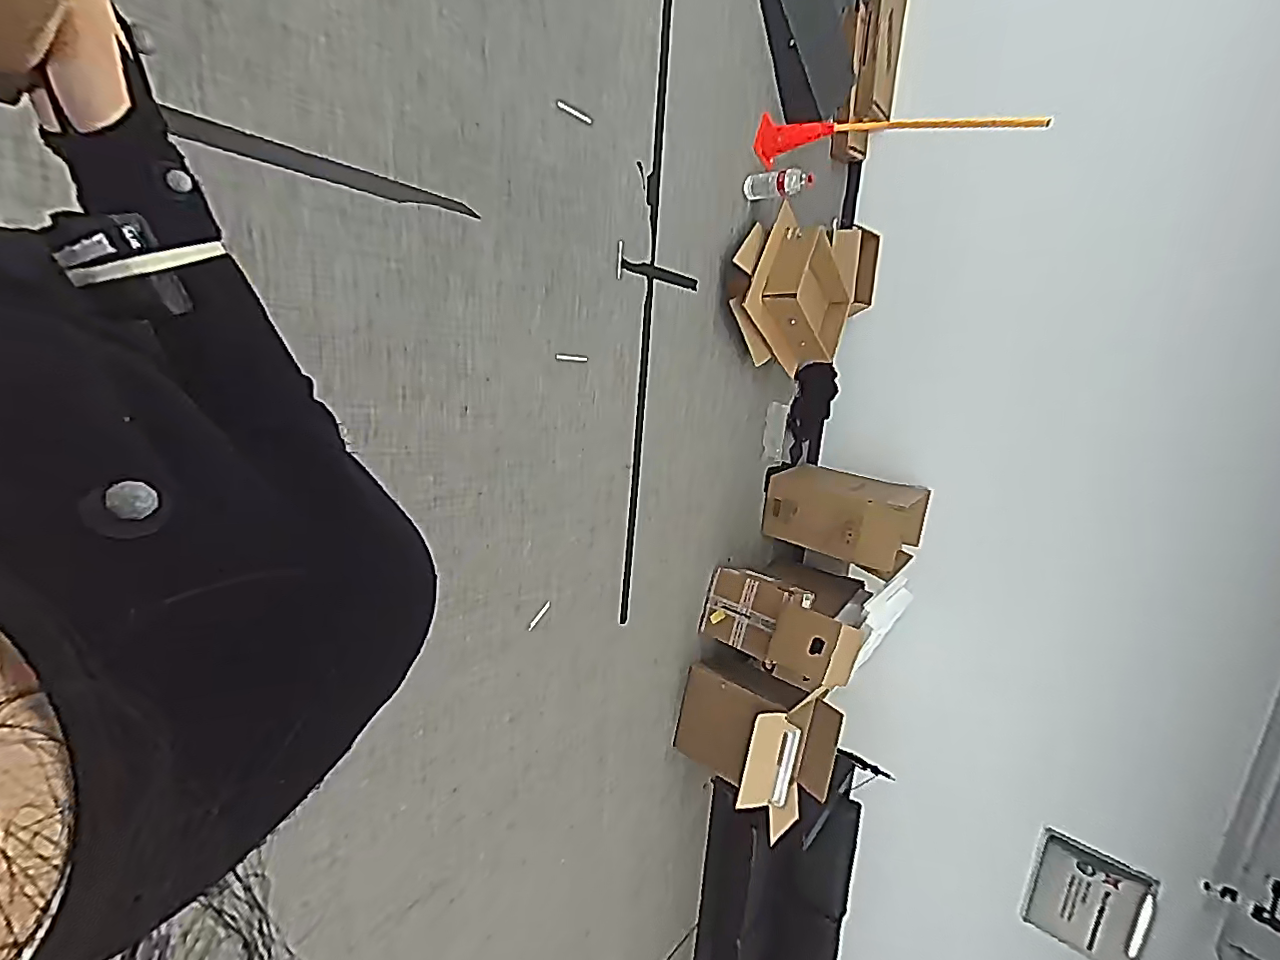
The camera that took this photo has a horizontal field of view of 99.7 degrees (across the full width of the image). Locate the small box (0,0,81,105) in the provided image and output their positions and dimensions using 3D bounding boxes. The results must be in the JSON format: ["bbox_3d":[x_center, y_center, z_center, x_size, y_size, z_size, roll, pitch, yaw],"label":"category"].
[{"bbox_3d":[-0.352,-0.285,0.205,0.168,0.176,0.179,-13,106,-53],"label":"small box"}]

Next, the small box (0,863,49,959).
[{"bbox_3d":[-1.030,0.744,0.819,0.168,0.176,0.179,-14,111,-49],"label":"small box"}]

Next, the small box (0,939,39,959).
[{"bbox_3d":[-0.909,0.770,0.714,0.168,0.176,0.179,-15,113,-47],"label":"small box"}]
